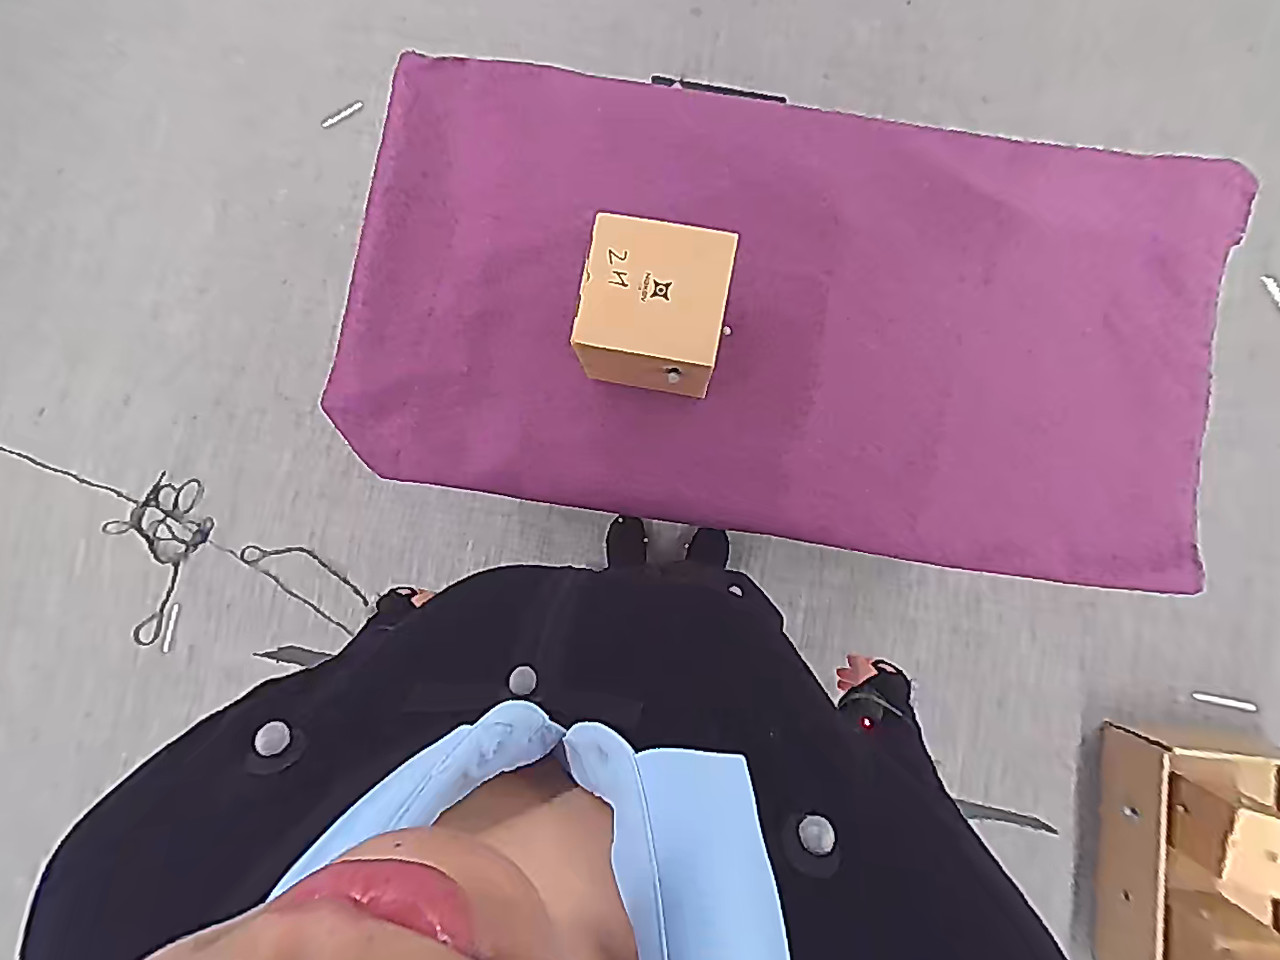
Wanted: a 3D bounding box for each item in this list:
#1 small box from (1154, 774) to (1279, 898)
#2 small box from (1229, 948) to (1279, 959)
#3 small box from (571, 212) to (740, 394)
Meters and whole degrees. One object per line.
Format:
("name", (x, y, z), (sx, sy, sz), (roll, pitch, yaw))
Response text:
("small box", (1.371, 0.818, 1.254), (0.179, 0.176, 0.168), (16, 88, 4))
("small box", (1.324, 1.083, 1.072), (0.179, 0.176, 0.168), (6, 86, 2))
("small box", (0.022, -0.220, 0.719), (0.179, 0.176, 0.168), (11, 86, 4))
